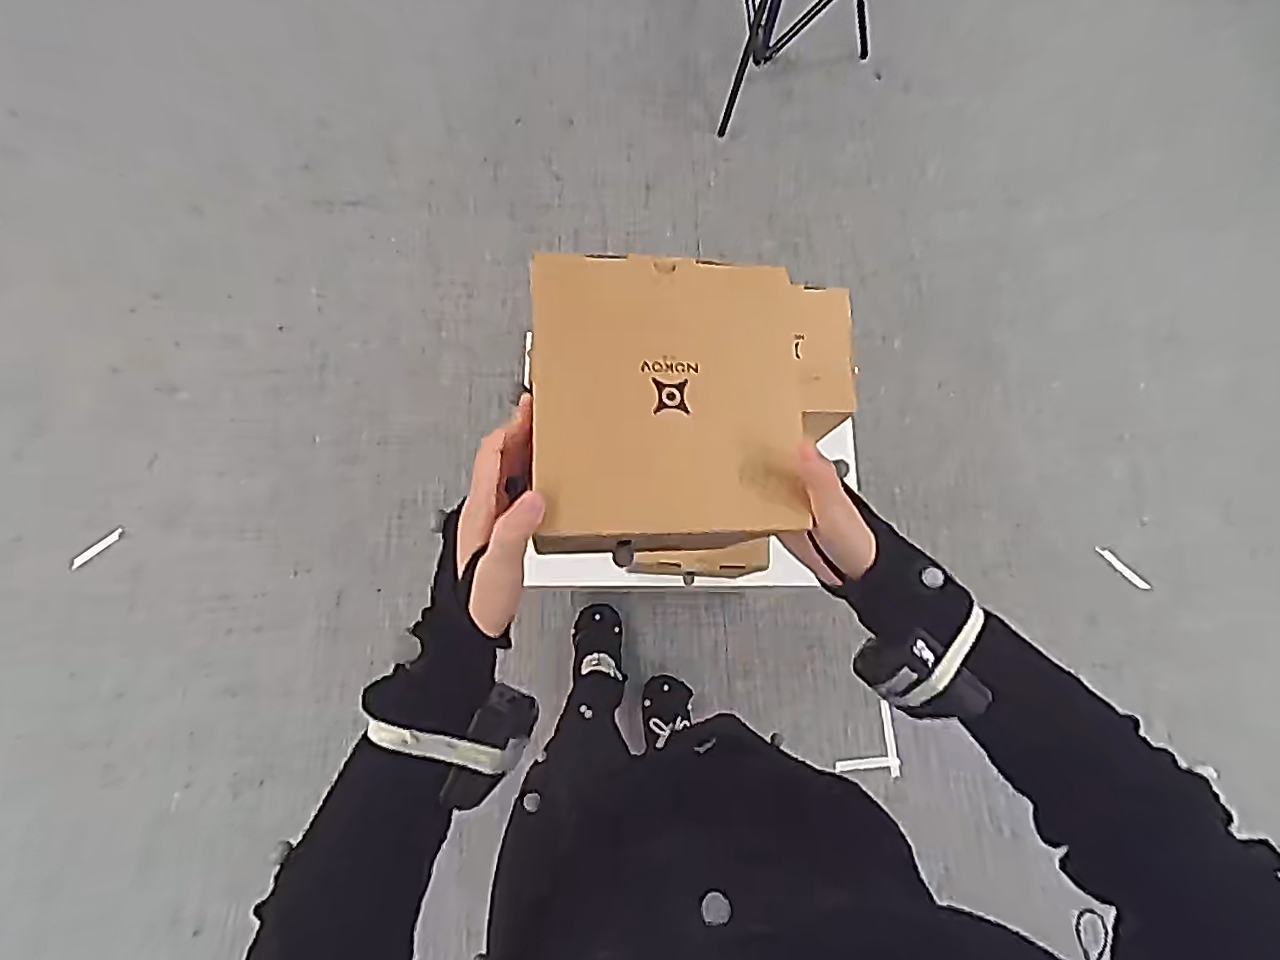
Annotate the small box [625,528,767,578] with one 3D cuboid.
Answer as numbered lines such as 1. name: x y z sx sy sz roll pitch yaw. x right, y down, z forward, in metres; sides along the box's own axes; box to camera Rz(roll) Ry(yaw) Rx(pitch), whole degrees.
1. small box: 0.067 0.038 0.723 0.168 0.176 0.179 3 77 -3

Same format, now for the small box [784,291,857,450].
1. small box: 0.190 -0.149 0.773 0.168 0.176 0.179 0 79 -2

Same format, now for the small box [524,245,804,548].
1. small box: 0.002 -0.042 0.402 0.168 0.176 0.179 0 77 -11
